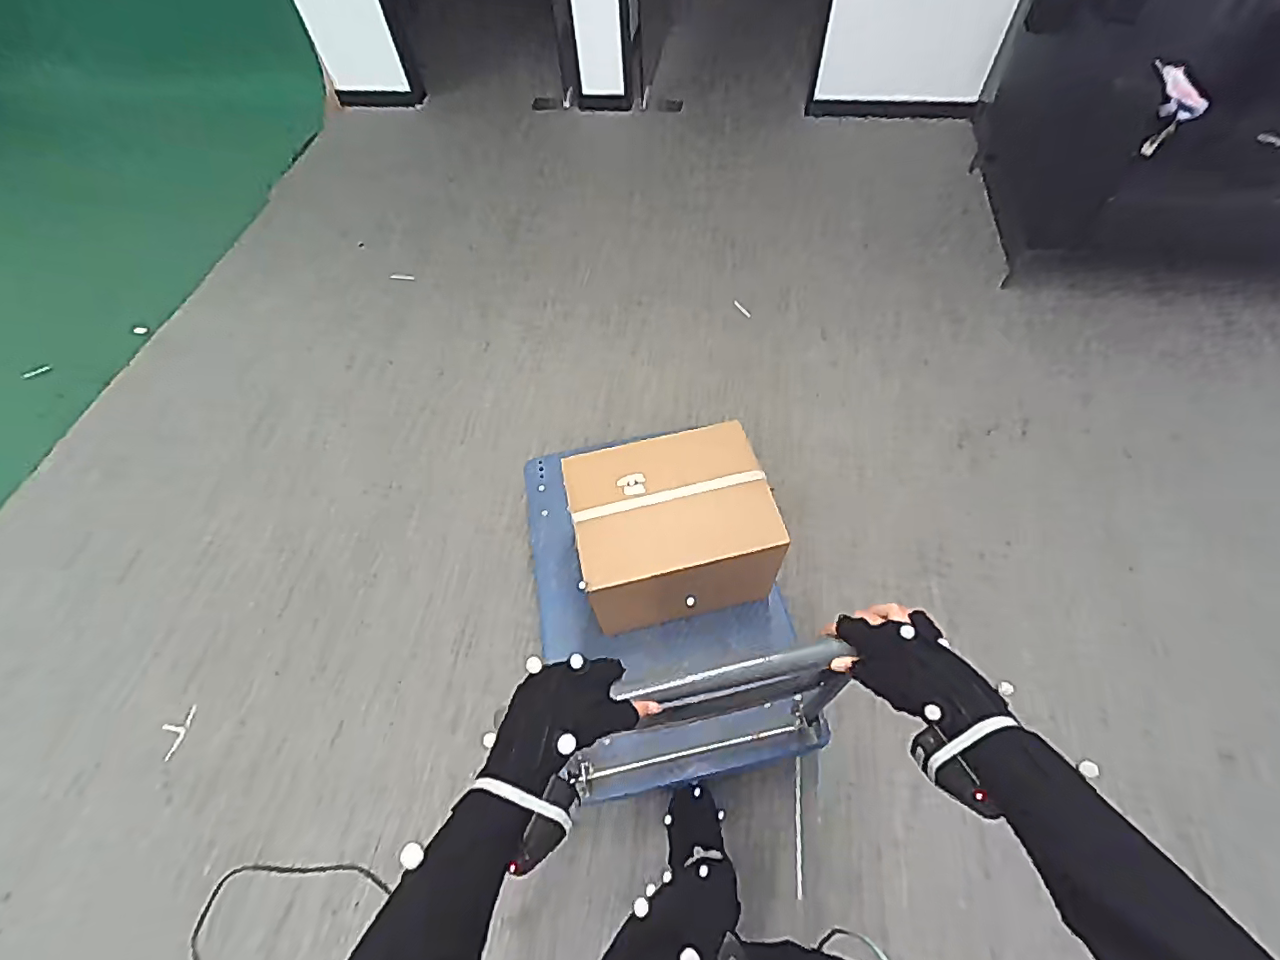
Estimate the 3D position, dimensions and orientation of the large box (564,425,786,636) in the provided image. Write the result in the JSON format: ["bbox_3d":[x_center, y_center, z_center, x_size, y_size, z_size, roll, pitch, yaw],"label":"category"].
[{"bbox_3d":[0.072,0.125,1.244,0.408,0.320,0.320,-14,58,-3],"label":"large box"}]
